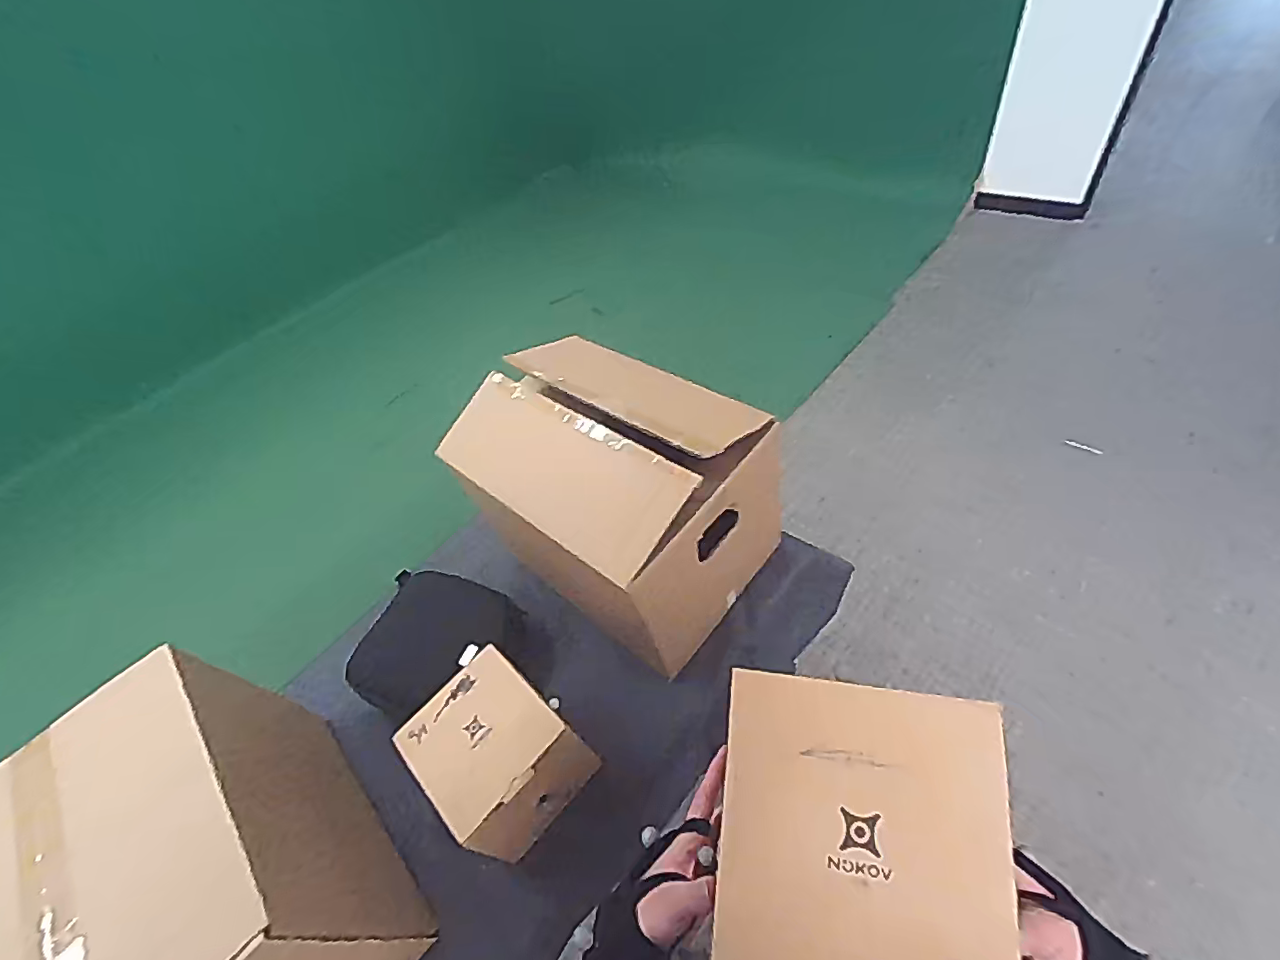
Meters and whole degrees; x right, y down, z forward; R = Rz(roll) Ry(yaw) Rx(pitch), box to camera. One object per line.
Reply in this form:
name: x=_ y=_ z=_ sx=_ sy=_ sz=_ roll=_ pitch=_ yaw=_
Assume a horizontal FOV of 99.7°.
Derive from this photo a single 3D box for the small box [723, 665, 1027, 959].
small box: x=0.153 y=0.241 z=0.402 sx=0.168 sy=0.176 sz=0.179 roll=4 pitch=70 yaw=11
